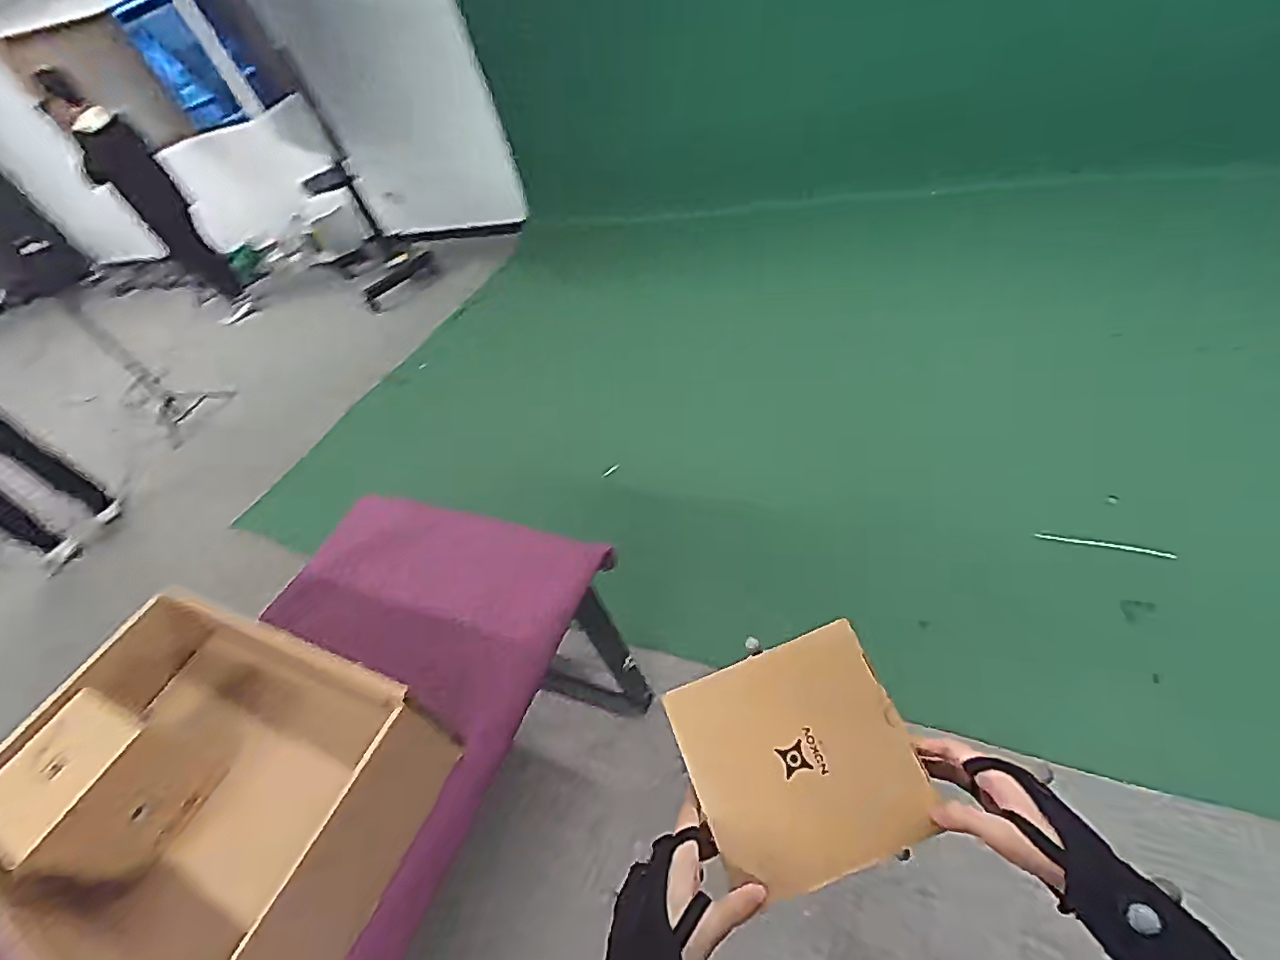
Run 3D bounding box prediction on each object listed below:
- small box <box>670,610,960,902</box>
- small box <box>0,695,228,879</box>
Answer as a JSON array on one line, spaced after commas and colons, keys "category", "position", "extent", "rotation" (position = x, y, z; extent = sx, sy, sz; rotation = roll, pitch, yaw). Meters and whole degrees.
[{"category": "small box", "position": [0.140, 0.242, 0.501], "extent": [0.179, 0.176, 0.168], "rotation": [-21, 67, -4]}, {"category": "small box", "position": [-0.756, 0.443, 0.778], "extent": [0.179, 0.176, 0.168], "rotation": [10, 52, 25]}]
